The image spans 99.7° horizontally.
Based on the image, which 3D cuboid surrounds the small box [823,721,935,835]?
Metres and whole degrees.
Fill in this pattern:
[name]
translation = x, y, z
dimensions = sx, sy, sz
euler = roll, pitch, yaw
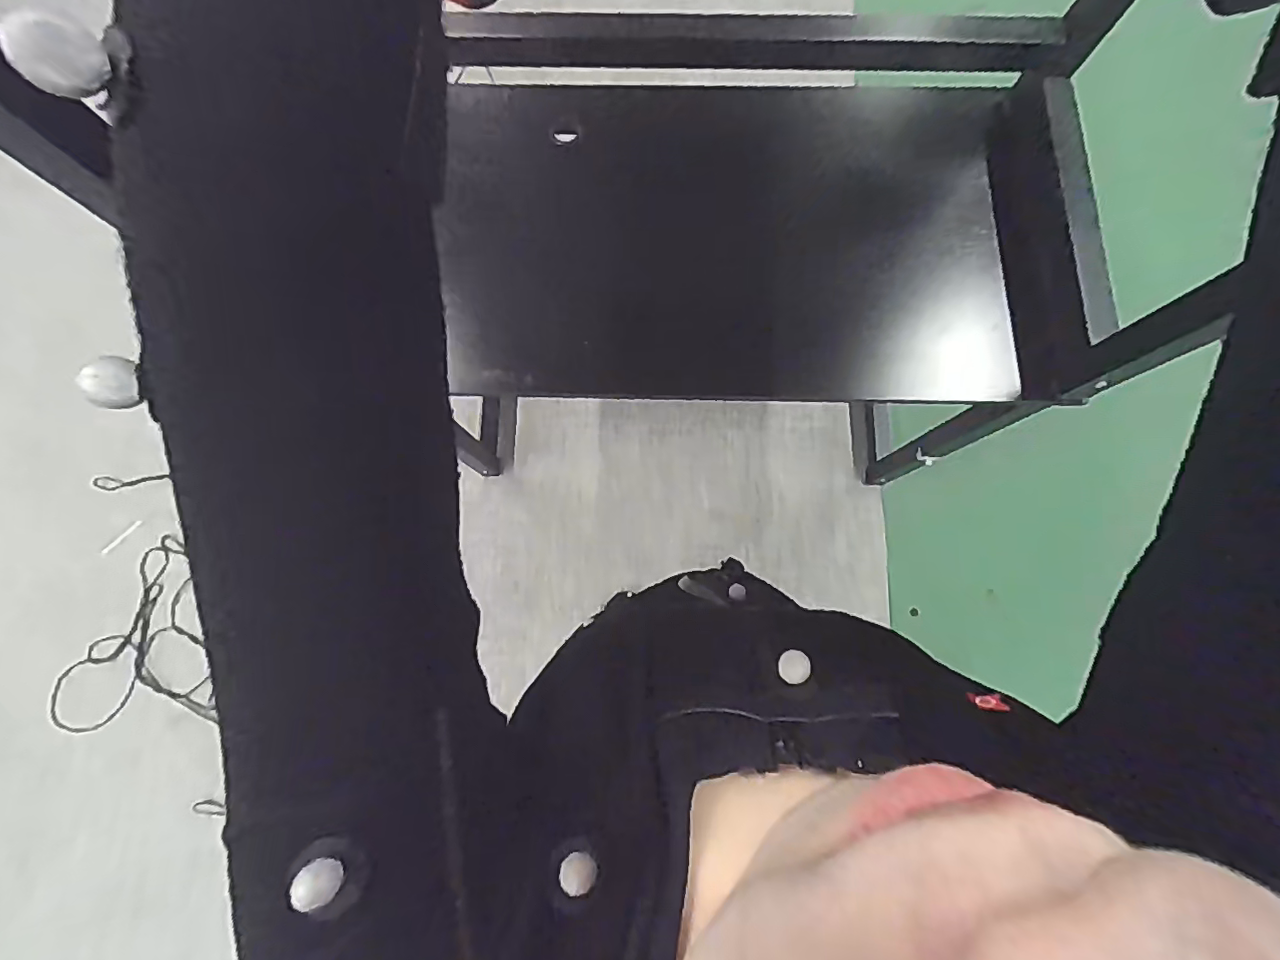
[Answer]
[small box]
translation = 0.513, 0.638, 1.181
dimensions = 0.179, 0.176, 0.168
euler = 8, 78, 3
